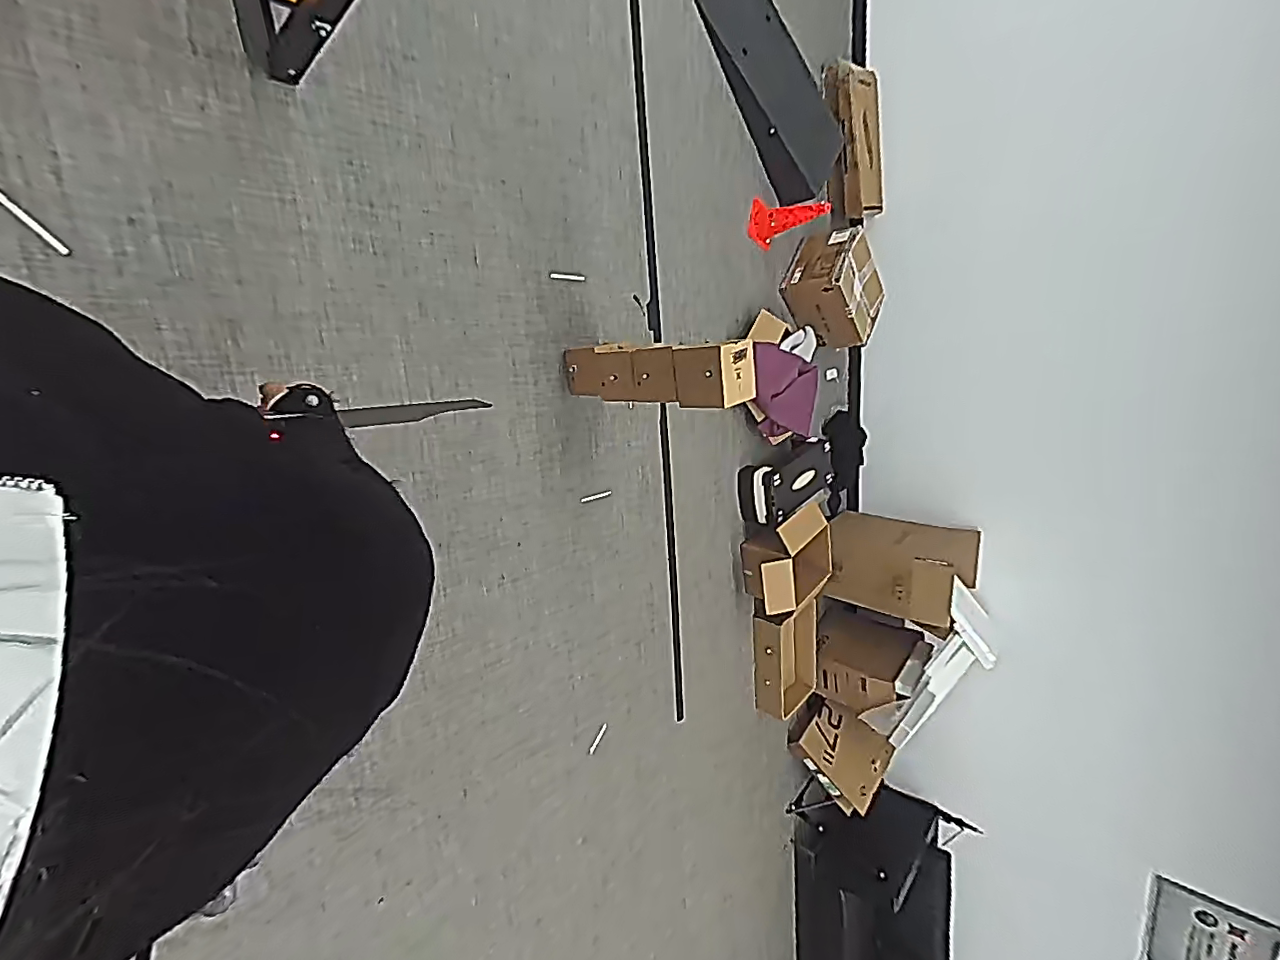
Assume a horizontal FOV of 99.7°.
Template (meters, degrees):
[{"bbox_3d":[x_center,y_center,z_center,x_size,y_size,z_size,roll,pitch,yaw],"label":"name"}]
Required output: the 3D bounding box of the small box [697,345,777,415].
[{"bbox_3d":[0.280,-0.290,1.569,0.168,0.176,0.179,-24,114,-43],"label":"small box"}]

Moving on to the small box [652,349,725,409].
[{"bbox_3d":[0.159,-0.316,1.678,0.179,0.176,0.168,-20,109,-44],"label":"small box"}]

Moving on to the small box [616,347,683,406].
[{"bbox_3d":[0.035,-0.340,1.785,0.179,0.176,0.168,-26,114,-42],"label":"small box"}]

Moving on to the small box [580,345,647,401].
[{"bbox_3d":[-0.085,-0.375,1.892,0.179,0.176,0.168,-24,112,-41],"label":"small box"}]
